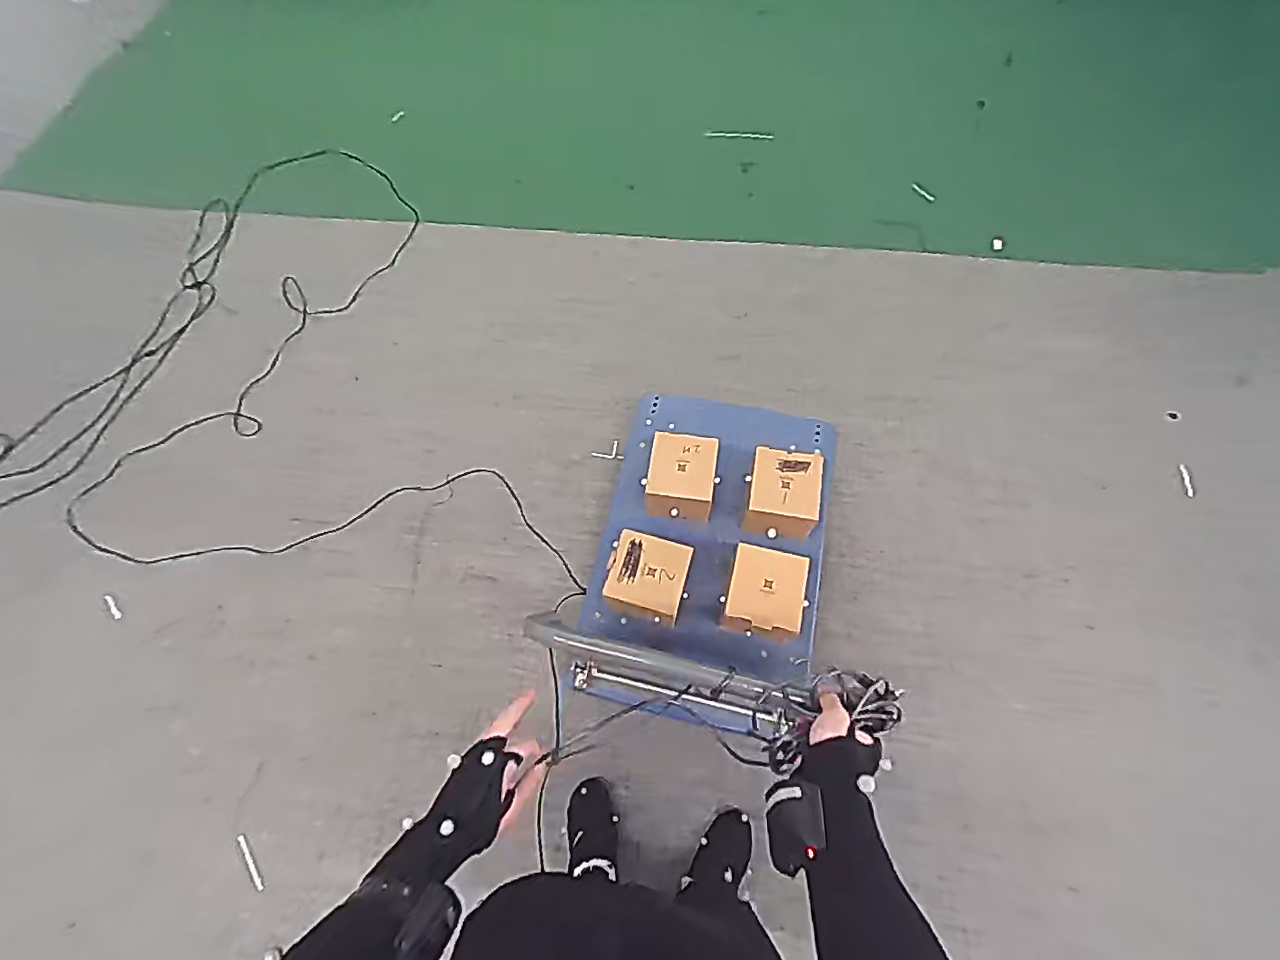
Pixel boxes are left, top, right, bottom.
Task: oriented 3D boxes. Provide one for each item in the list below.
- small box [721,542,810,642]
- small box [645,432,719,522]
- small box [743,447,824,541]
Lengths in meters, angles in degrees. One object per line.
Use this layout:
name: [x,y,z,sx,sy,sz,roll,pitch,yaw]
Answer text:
small box: [0.293,0.271,1.287,0.168,0.176,0.179,12,67,8]
small box: [0.110,-0.002,1.420,0.168,0.176,0.179,8,66,6]
small box: [0.362,0.038,1.387,0.168,0.176,0.179,9,67,8]
